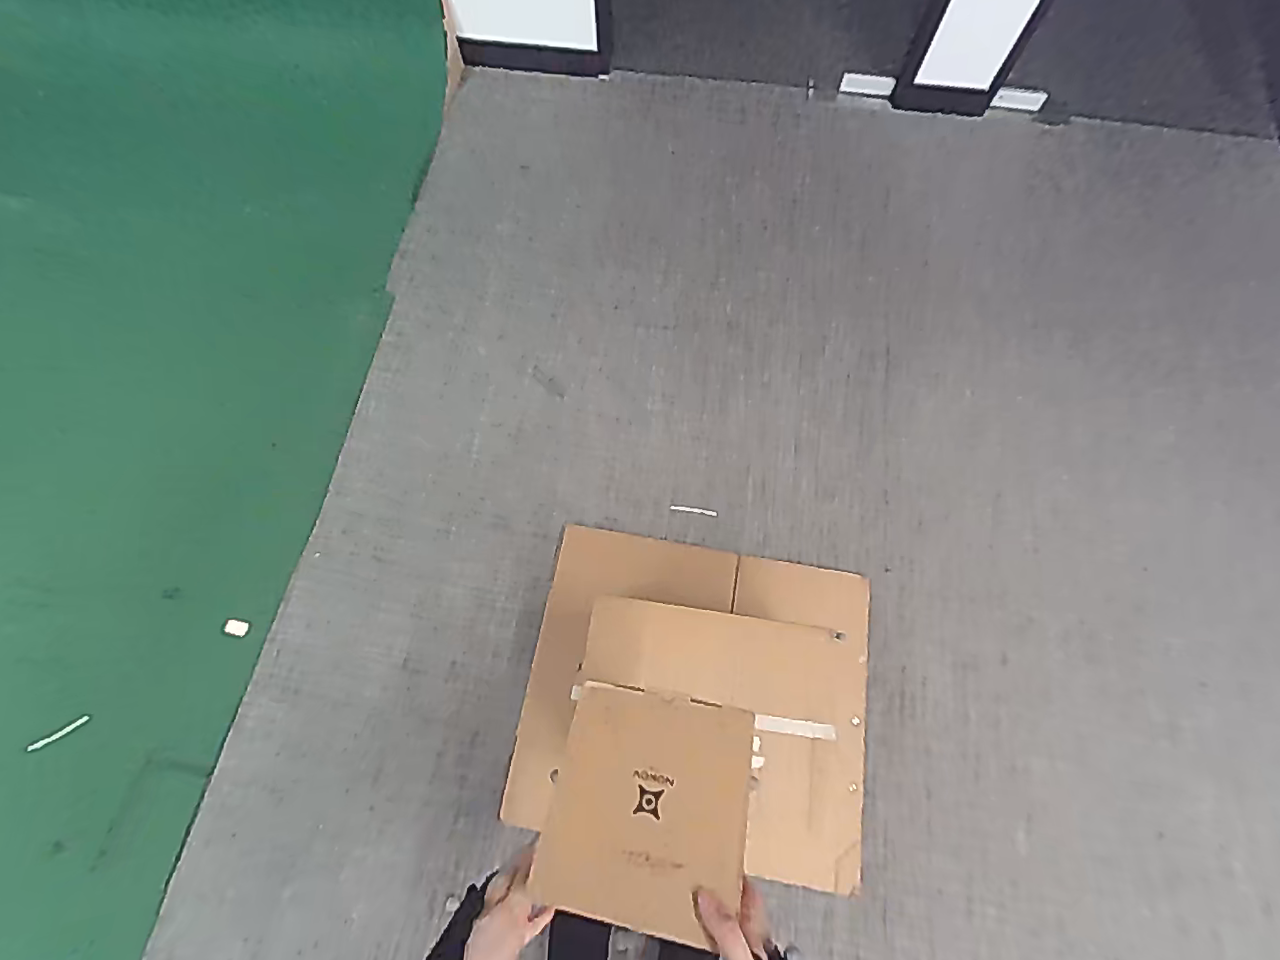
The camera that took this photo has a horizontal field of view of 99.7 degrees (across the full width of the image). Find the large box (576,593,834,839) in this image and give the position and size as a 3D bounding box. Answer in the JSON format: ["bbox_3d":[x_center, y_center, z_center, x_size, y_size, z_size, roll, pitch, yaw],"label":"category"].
[{"bbox_3d":[0.096,0.405,0.976,0.408,0.320,0.320,8,71,1],"label":"large box"}]

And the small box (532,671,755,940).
[{"bbox_3d":[0.014,0.312,0.522,0.168,0.176,0.179,7,51,10],"label":"small box"}]
